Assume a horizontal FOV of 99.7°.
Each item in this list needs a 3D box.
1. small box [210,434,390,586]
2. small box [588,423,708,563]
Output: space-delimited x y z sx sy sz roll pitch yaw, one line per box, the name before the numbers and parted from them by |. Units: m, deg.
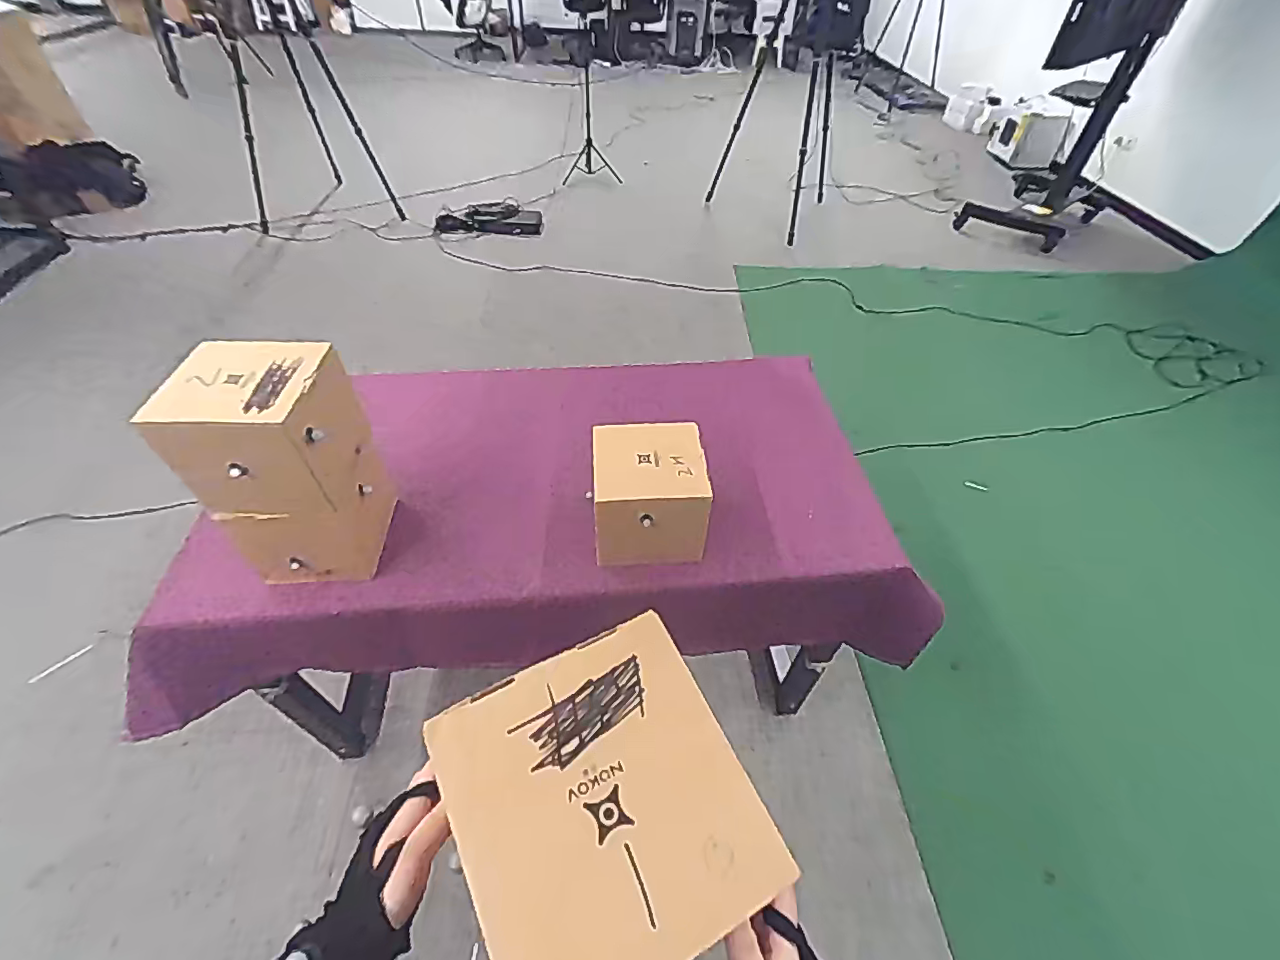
small box | -0.512 0.046 0.851 0.168 0.176 0.179 -2 48 -5
small box | 0.007 0.025 0.892 0.179 0.176 0.168 -2 48 -5
